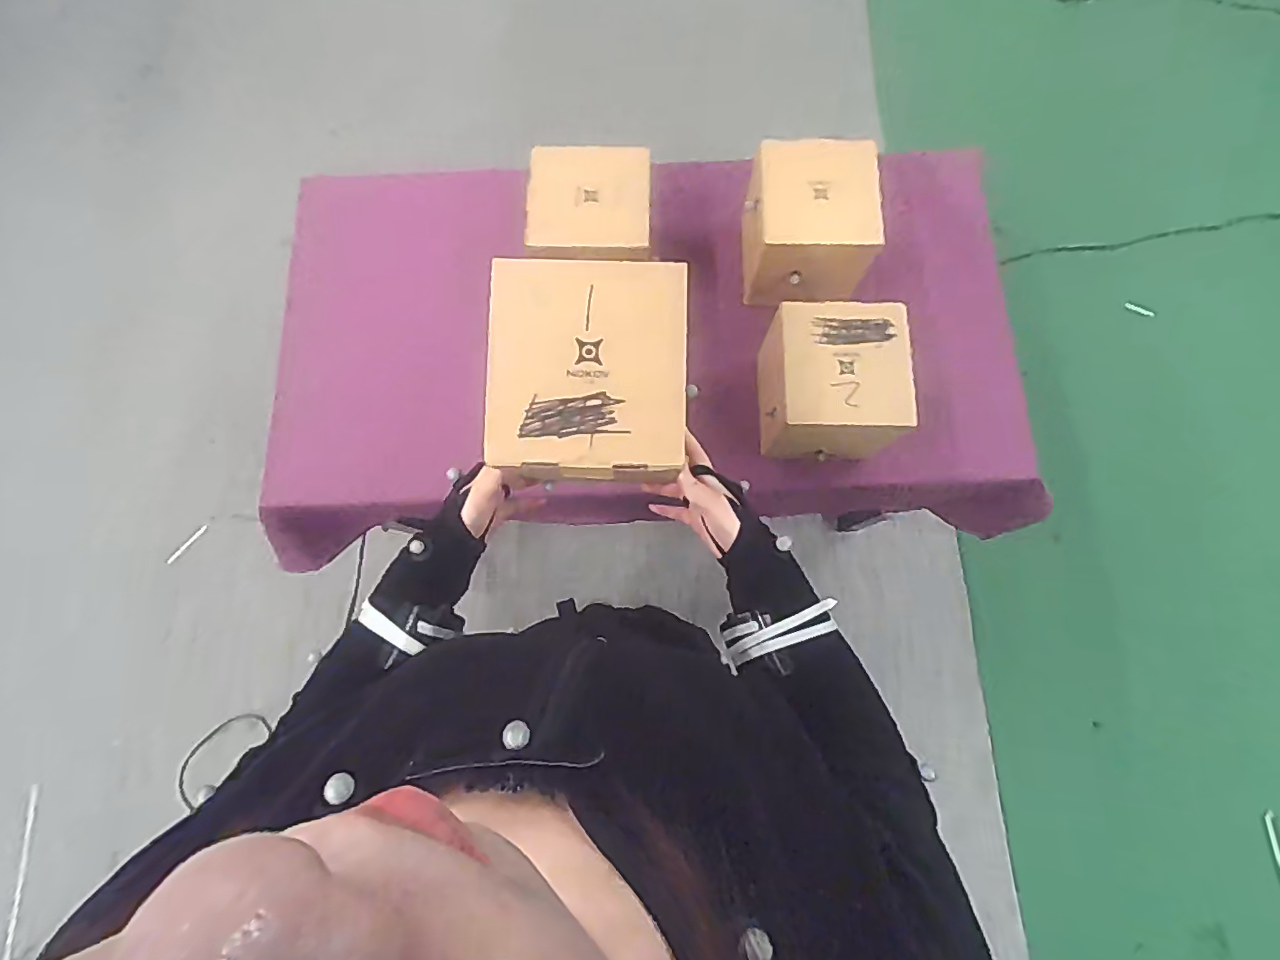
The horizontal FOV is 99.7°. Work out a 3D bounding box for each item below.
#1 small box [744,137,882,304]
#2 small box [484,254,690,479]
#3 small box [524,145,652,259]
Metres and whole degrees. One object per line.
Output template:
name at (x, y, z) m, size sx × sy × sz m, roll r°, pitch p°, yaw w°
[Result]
small box at (0.257, -0.391, 0.839) m, size 0.168 × 0.176 × 0.179 m, roll 1°, pitch 77°, yaw 2°
small box at (-0.043, -0.094, 0.523) m, size 0.168 × 0.176 × 0.179 m, roll 2°, pitch 85°, yaw 0°
small box at (-0.072, -0.387, 0.846) m, size 0.179 × 0.176 × 0.168 m, roll 2°, pitch 78°, yaw 1°
